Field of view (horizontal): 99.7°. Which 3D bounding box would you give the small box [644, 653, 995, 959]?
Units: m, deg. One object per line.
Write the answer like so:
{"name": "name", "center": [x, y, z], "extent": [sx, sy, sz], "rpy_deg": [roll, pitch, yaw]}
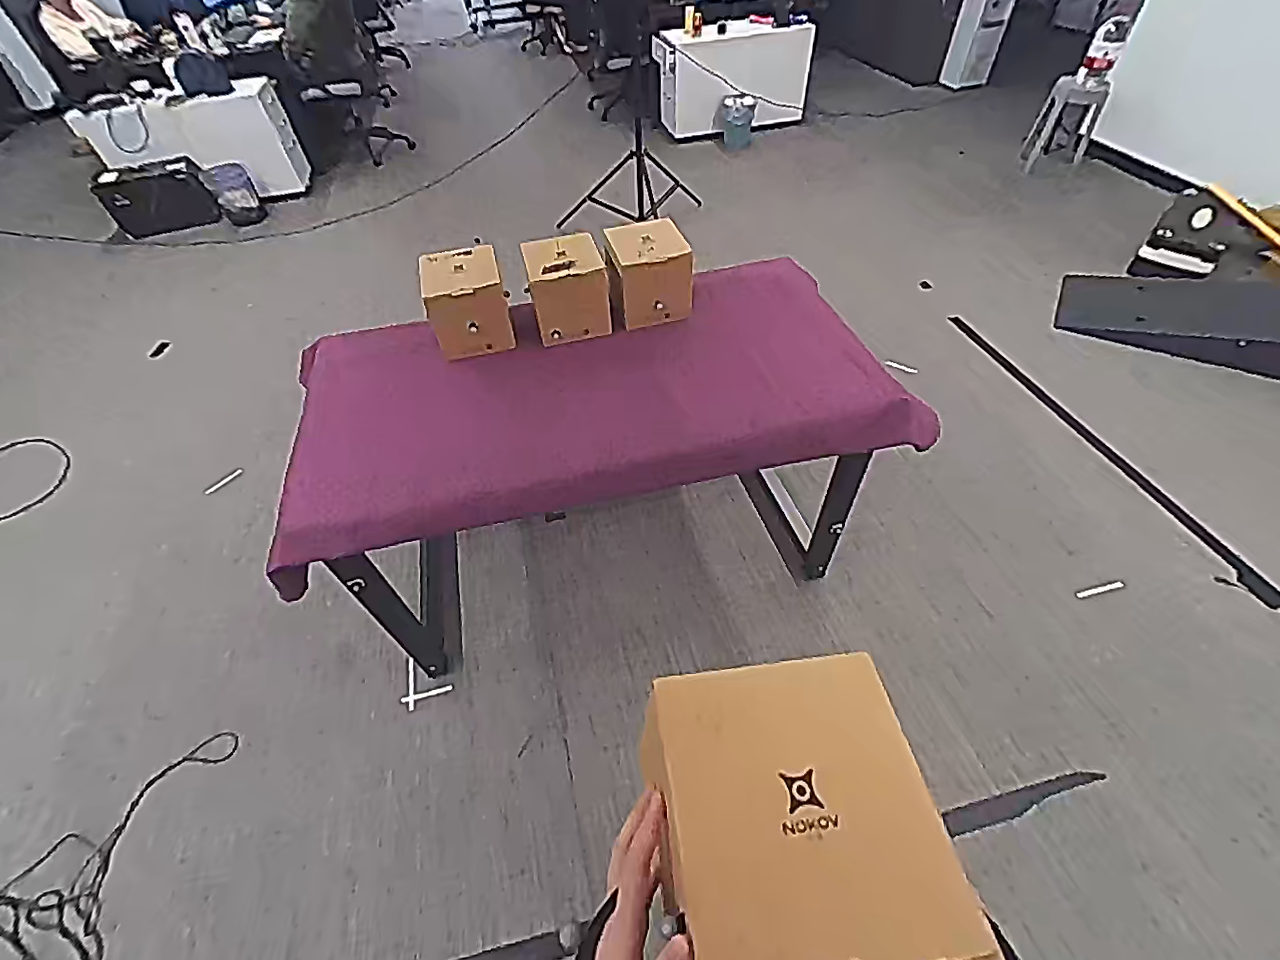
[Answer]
{"name": "small box", "center": [0.098, 0.252, 0.399], "extent": [0.168, 0.176, 0.179], "rpy_deg": [-4, 49, -8]}

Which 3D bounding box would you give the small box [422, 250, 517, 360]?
{"name": "small box", "center": [-0.387, -0.392, 1.238], "extent": [0.168, 0.176, 0.179], "rpy_deg": [-14, 53, -8]}
